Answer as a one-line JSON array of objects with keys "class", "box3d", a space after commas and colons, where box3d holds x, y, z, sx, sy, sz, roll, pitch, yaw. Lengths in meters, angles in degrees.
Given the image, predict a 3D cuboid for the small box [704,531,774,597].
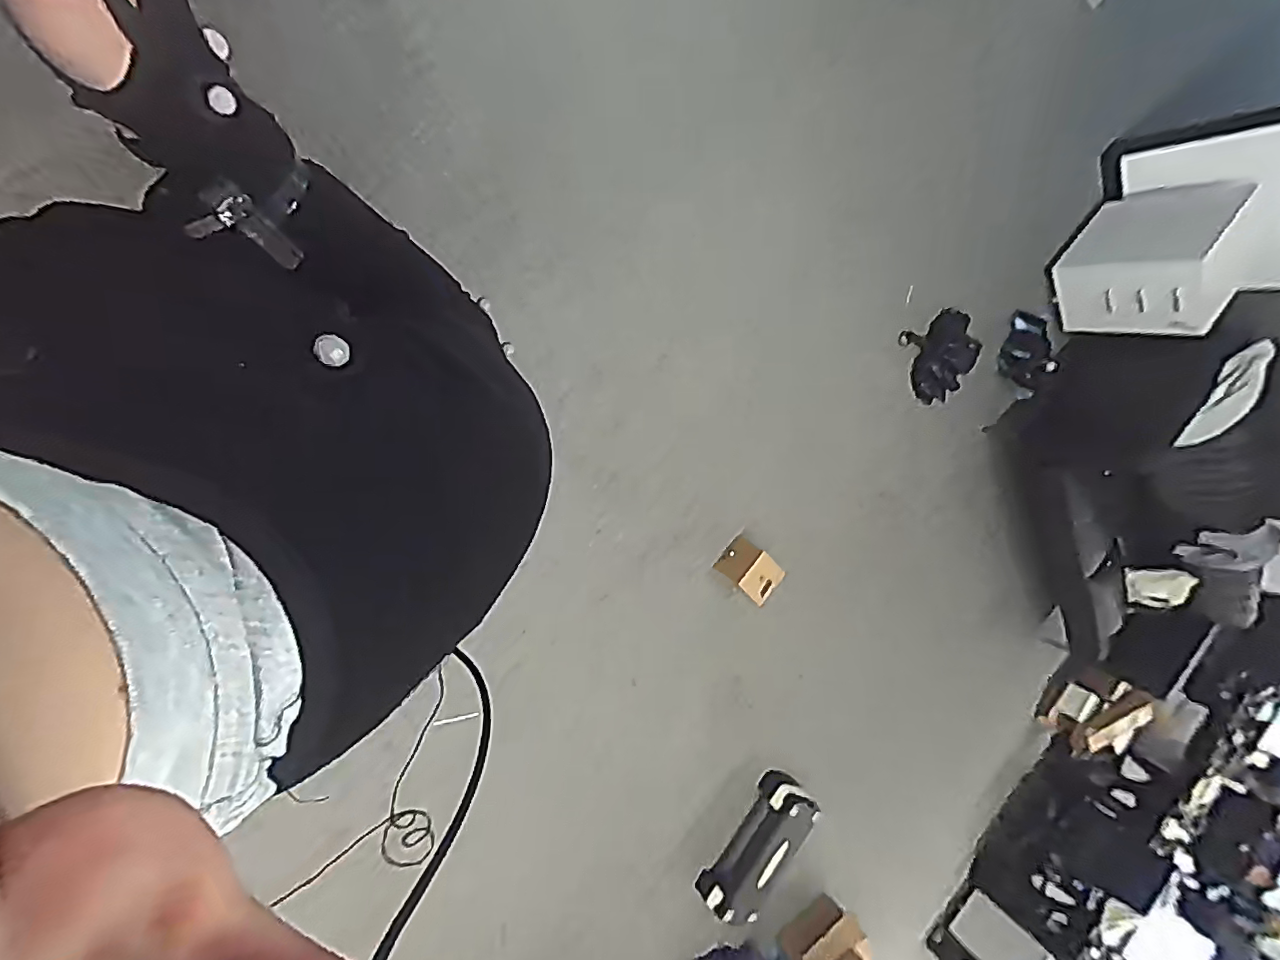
[{"class": "small box", "box3d": [0.390, 0.327, 2.148, 0.168, 0.176, 0.179, -51, 123, -9]}]
